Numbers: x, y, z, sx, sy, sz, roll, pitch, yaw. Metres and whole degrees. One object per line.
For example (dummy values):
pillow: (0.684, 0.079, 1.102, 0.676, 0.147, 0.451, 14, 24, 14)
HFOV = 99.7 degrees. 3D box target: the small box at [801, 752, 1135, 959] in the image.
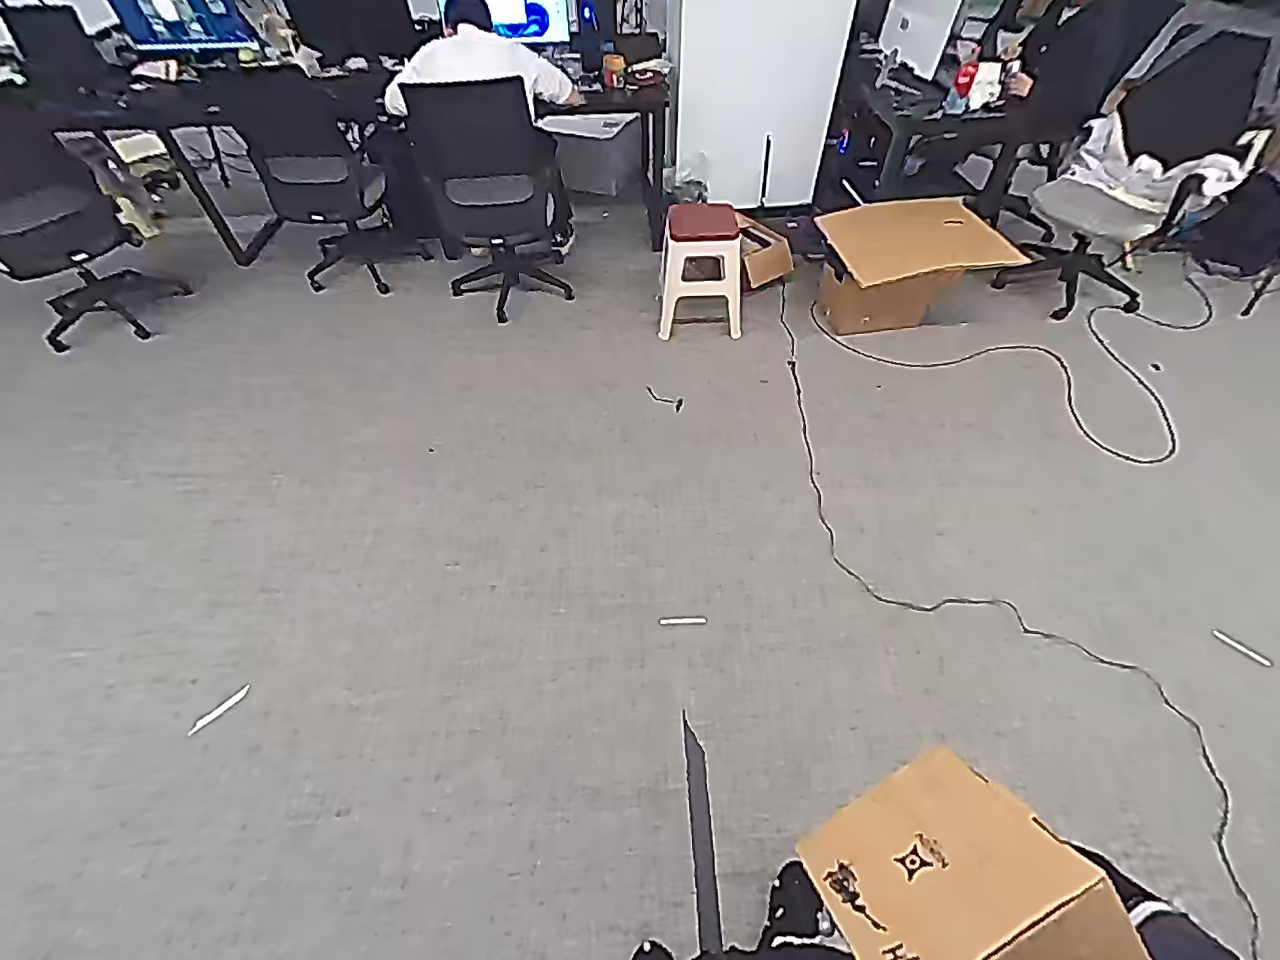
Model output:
small box: (0.276, 0.384, 0.457, 0.179, 0.168, 0.176, -30, 95, -5)
